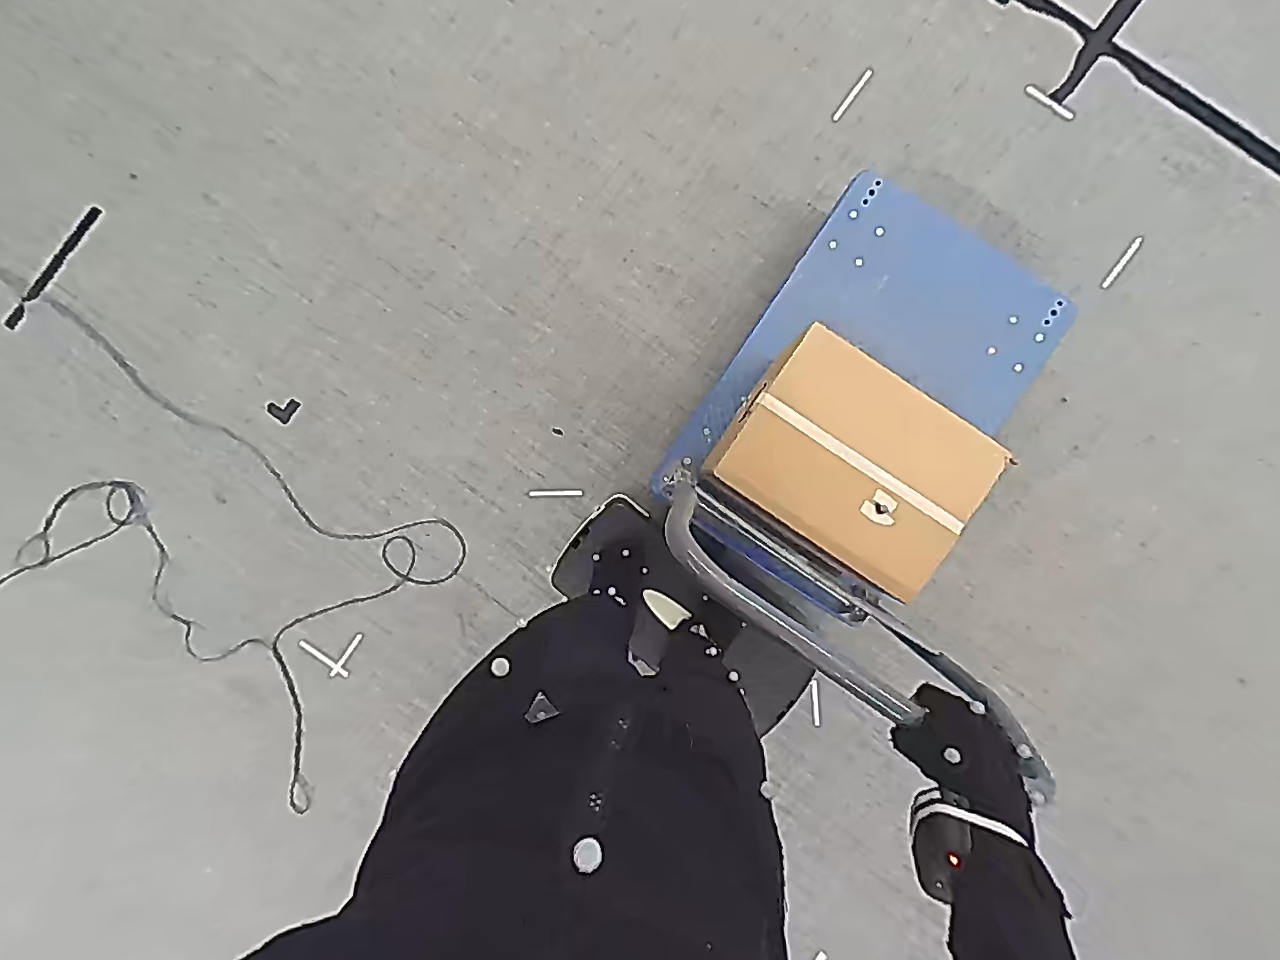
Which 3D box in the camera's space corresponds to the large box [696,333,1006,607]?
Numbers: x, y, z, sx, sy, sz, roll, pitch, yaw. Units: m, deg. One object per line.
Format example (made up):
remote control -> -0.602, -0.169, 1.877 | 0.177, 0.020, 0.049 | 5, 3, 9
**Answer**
large box -> 0.368, -0.019, 1.055 | 0.408, 0.320, 0.320 | 34, 92, 0
